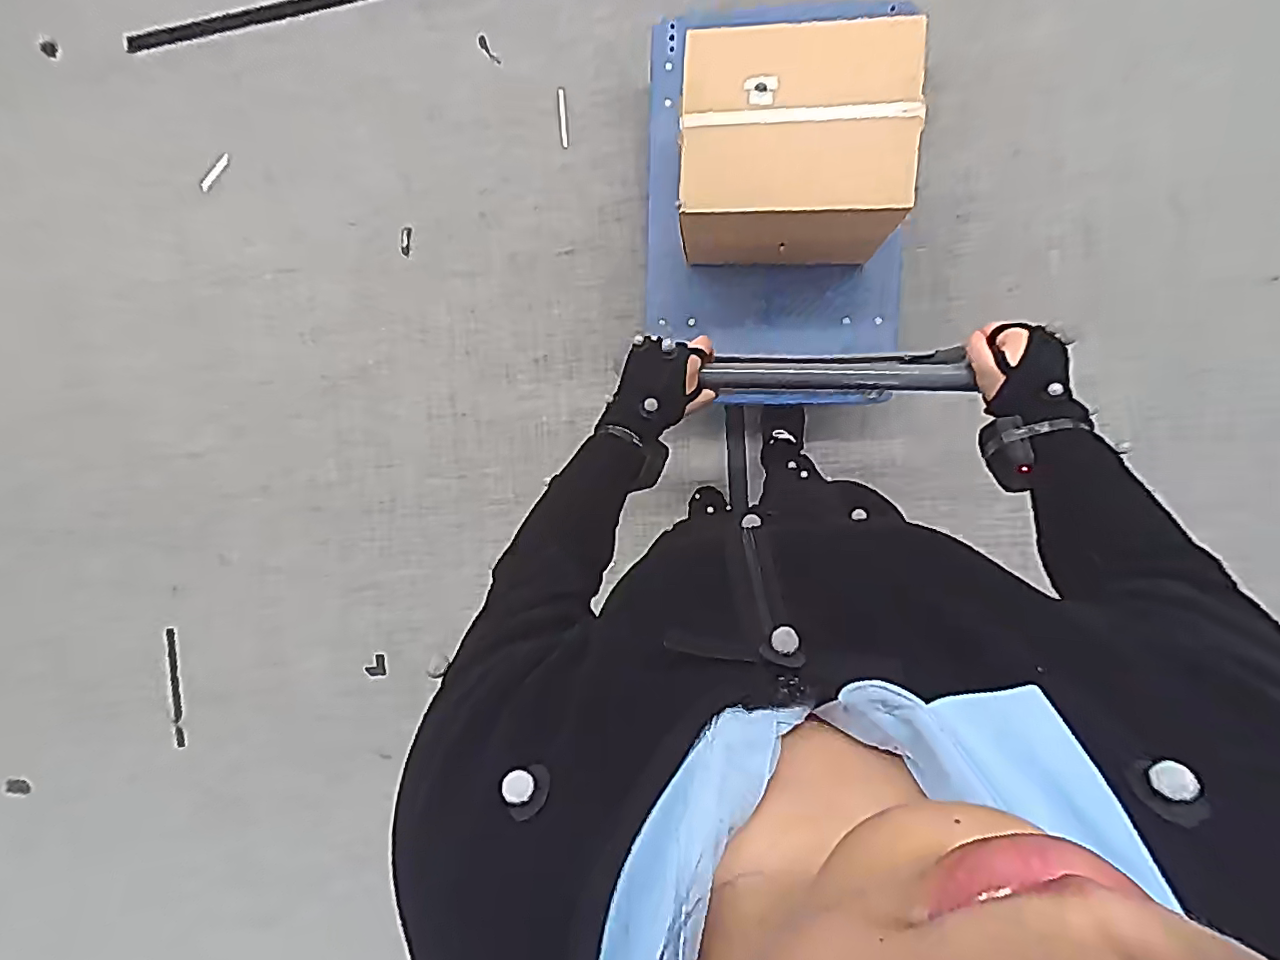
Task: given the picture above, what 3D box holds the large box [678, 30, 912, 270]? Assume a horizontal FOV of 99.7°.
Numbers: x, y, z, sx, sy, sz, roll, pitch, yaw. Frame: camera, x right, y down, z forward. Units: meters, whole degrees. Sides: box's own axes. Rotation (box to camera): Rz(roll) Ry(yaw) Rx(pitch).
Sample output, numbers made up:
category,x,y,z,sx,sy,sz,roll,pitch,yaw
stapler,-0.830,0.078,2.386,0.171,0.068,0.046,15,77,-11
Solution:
category,x,y,z,sx,sy,sz,roll,pitch,yaw
large box,0.295,-0.636,1.112,0.408,0.320,0.320,2,94,9
